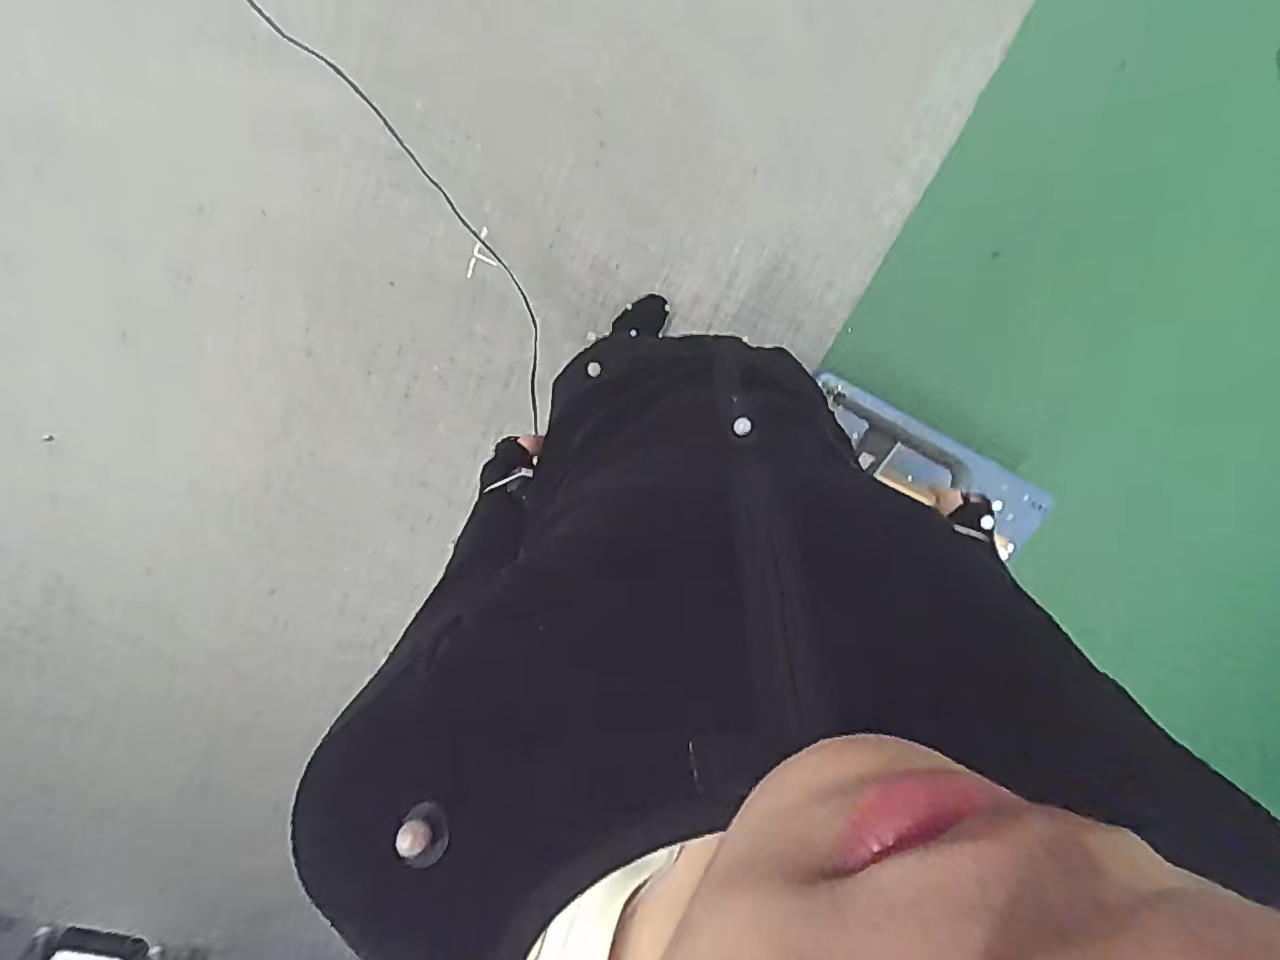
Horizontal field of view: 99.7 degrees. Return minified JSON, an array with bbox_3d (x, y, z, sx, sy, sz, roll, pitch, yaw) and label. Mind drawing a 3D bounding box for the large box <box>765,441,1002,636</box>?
[{"bbox_3d":[0.609,0.143,1.425,0.408,0.320,0.320,24,108,-13],"label":"large box"}]
